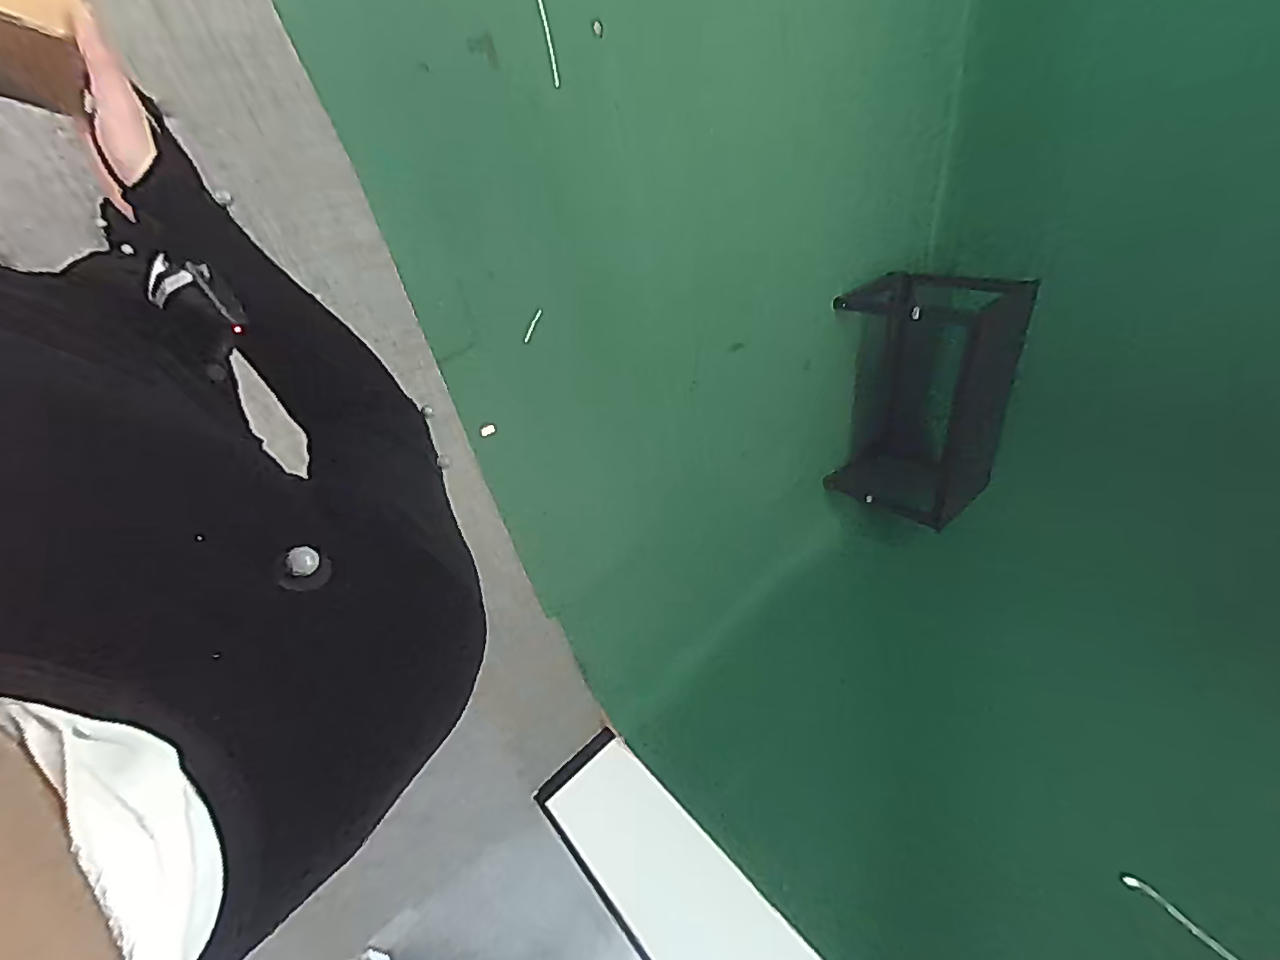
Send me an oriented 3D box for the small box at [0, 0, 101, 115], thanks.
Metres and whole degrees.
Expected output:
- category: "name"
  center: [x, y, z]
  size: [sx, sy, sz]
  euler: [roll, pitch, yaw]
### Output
- category: "small box"
  center: [-0.501, -0.394, 0.371]
  size: [0.168, 0.176, 0.179]
  euler: [-9, 107, -46]
